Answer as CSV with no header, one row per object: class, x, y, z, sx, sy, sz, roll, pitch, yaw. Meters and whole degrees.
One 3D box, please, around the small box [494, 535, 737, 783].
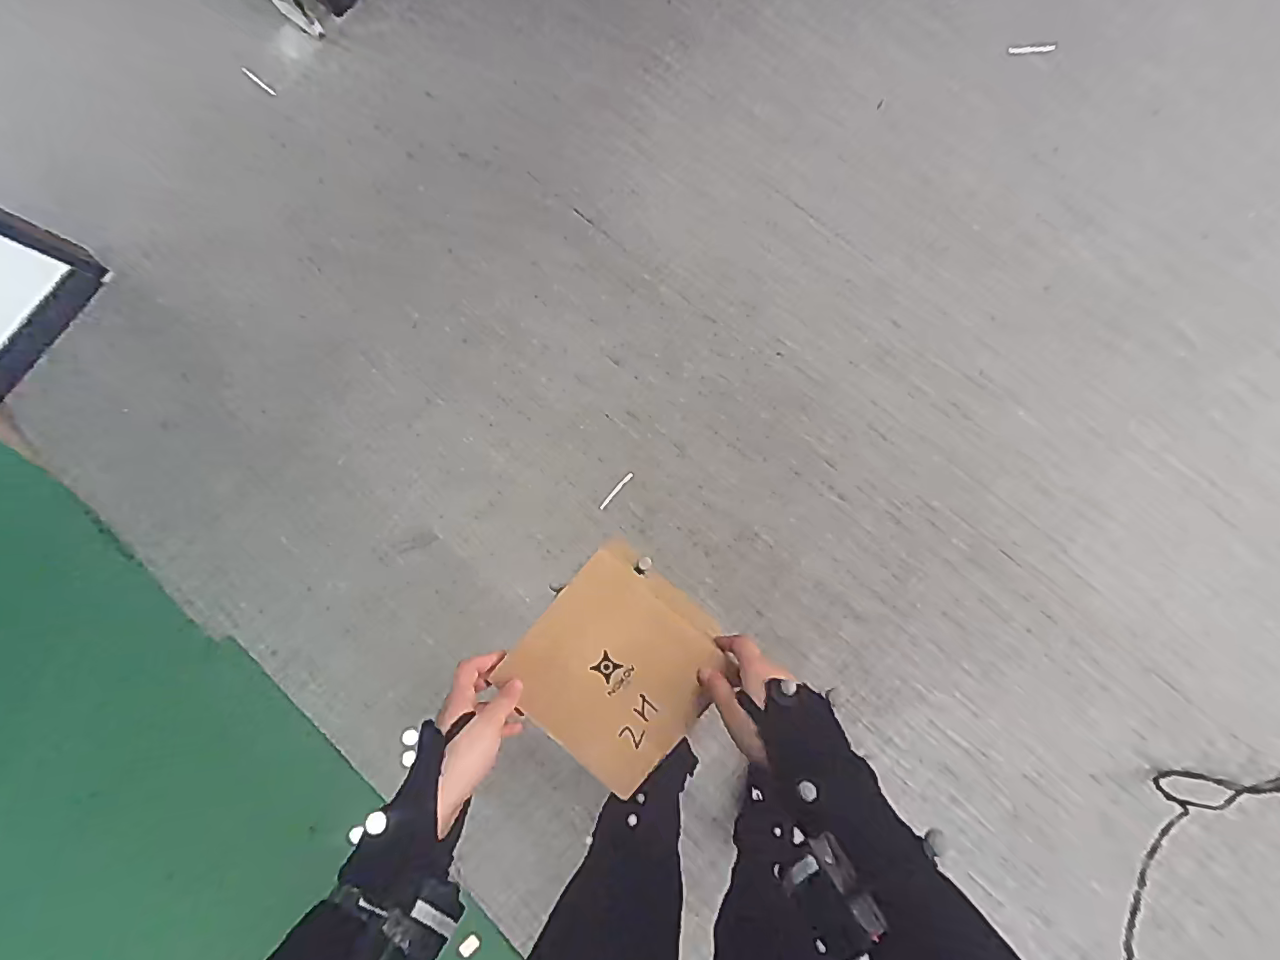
small box,-0.023,0.175,0.594,0.179,0.176,0.168,41,90,2
